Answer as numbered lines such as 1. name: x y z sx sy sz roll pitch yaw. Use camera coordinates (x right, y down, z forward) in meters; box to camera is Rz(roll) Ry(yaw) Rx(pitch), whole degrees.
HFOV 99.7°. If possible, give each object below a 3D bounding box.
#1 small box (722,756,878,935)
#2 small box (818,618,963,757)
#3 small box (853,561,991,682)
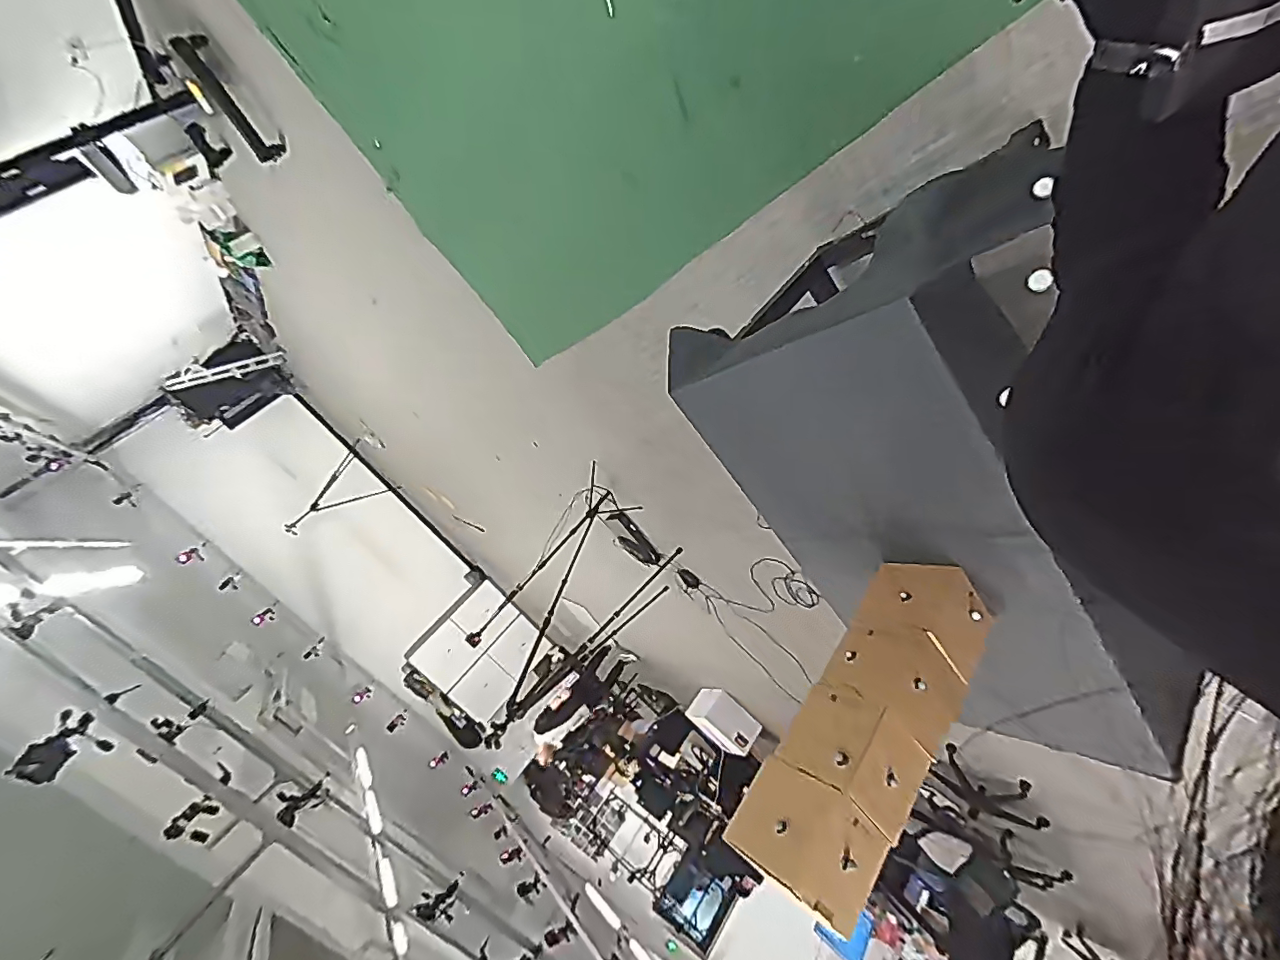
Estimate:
1. small box: 0.284 0.617 0.939 0.168 0.176 0.179 50 154 -16
2. small box: 0.492 0.395 1.061 0.179 0.176 0.168 50 154 -15
3. small box: 0.590 0.284 1.128 0.168 0.176 0.179 51 152 -18
